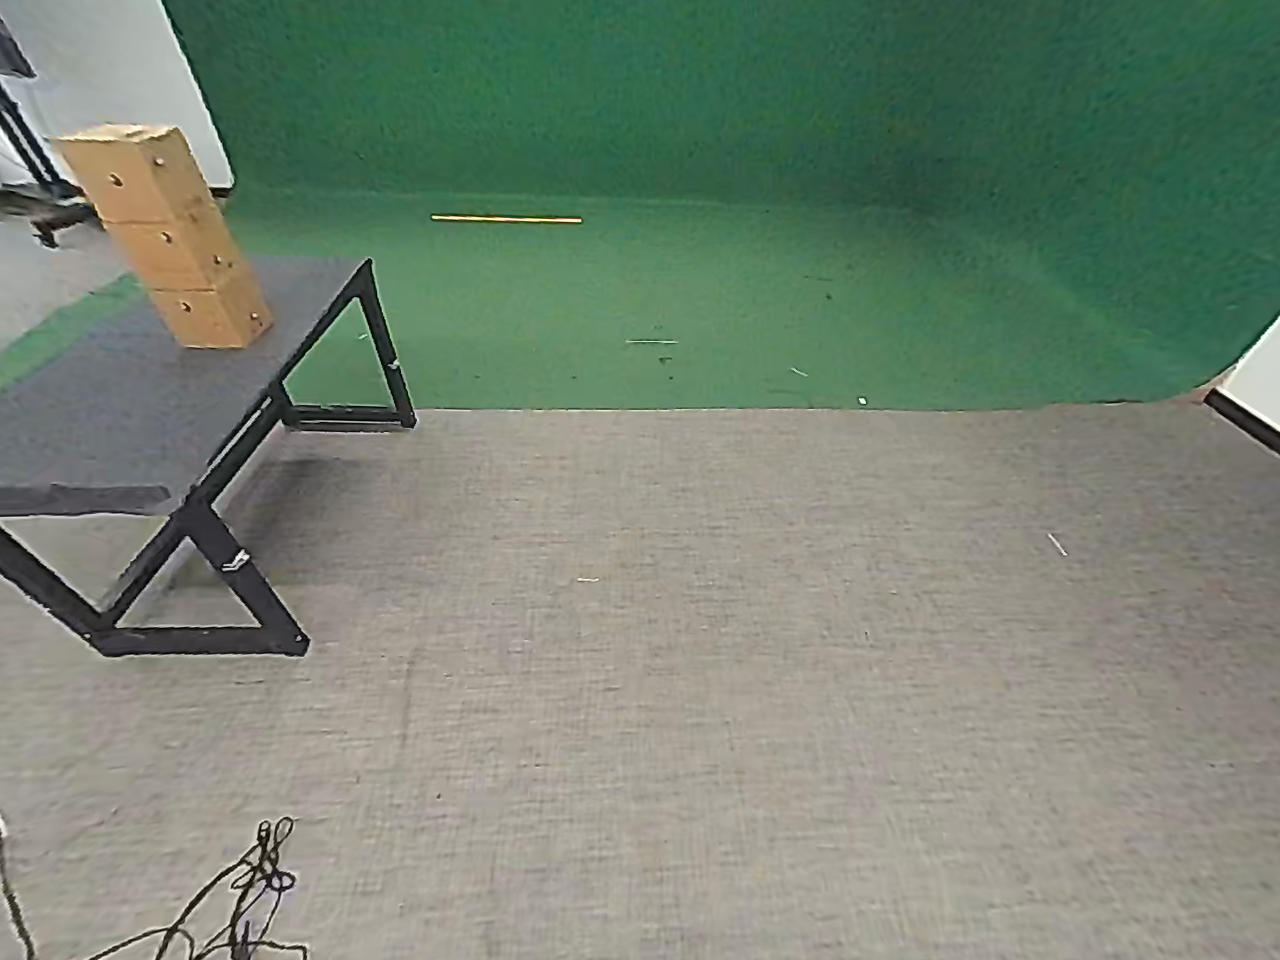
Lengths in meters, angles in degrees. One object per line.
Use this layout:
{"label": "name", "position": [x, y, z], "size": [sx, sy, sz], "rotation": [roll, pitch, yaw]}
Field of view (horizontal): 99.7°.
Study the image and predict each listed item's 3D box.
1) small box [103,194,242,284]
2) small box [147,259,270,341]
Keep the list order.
{"label": "small box", "position": [-1.174, -0.613, 1.376], "size": [0.179, 0.176, 0.168], "rotation": [1, 43, -2]}
{"label": "small box", "position": [-1.174, -0.495, 1.488], "size": [0.179, 0.176, 0.168], "rotation": [1, 44, -2]}
